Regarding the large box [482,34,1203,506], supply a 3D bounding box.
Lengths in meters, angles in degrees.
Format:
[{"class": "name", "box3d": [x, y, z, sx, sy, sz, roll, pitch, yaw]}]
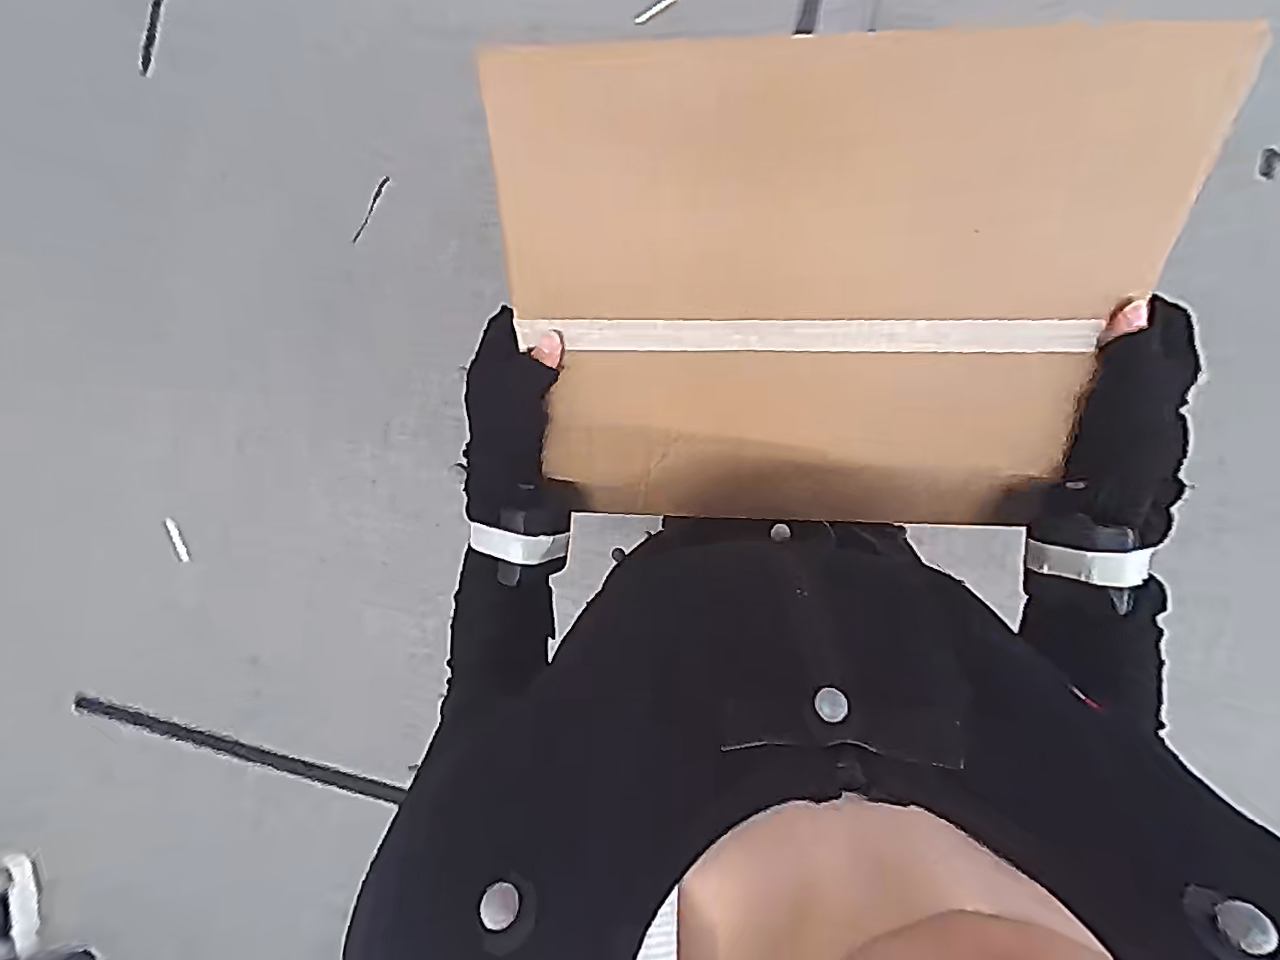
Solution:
[{"class": "large box", "box3d": [0.120, -0.188, 0.506, 0.408, 0.320, 0.320, 1, 123, 4]}]
